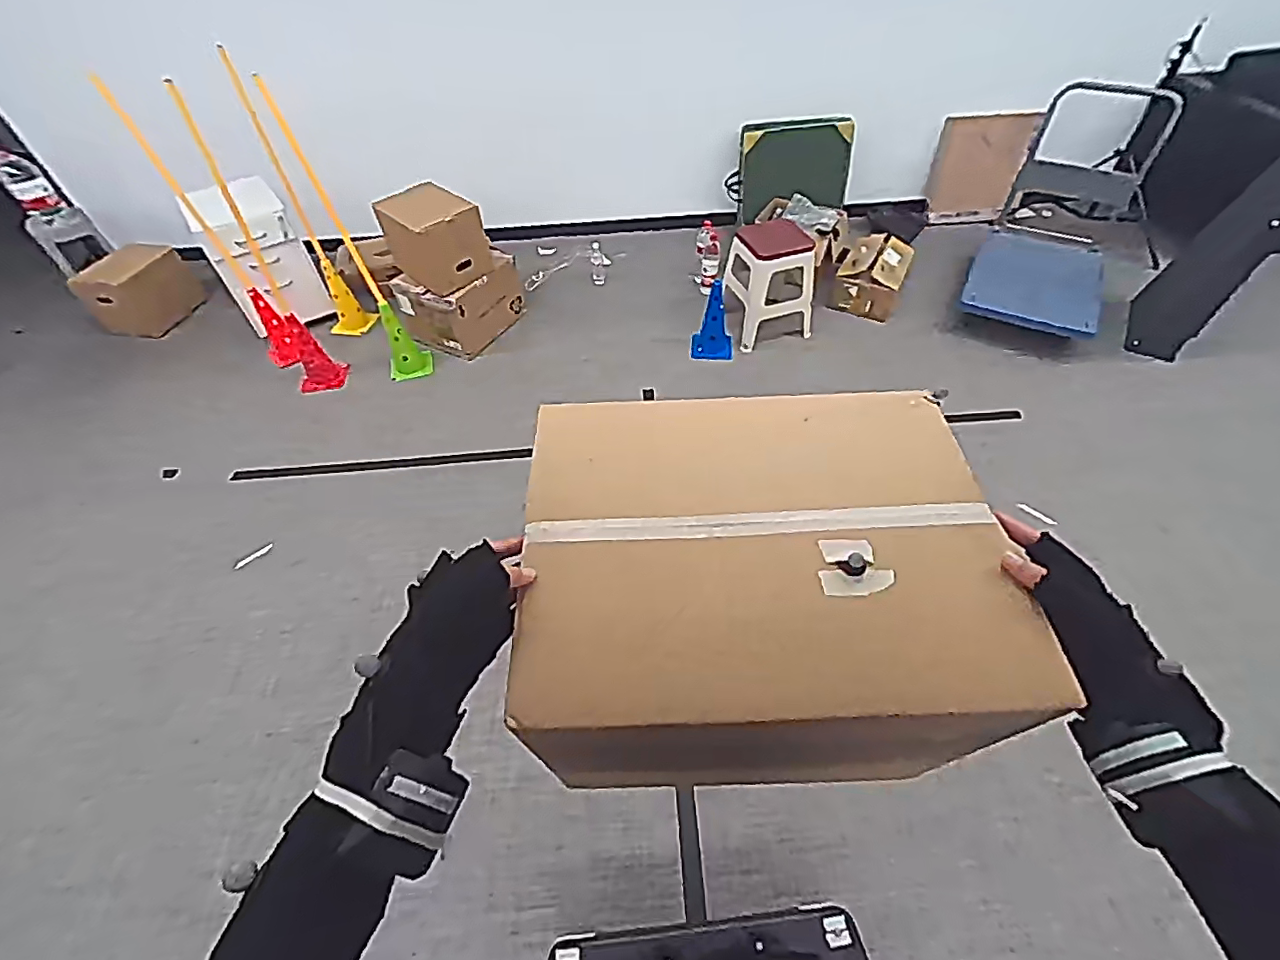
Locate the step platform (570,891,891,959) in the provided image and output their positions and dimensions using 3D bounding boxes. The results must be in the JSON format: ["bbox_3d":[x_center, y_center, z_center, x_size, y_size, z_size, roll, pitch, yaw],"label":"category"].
[{"bbox_3d":[0.189,1.084,1.136,0.684,0.204,0.286,-6,50,-3],"label":"step platform"}]

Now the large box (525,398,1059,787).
[{"bbox_3d":[0.107,0.134,0.600,0.408,0.320,0.320,-2,54,0],"label":"large box"}]
